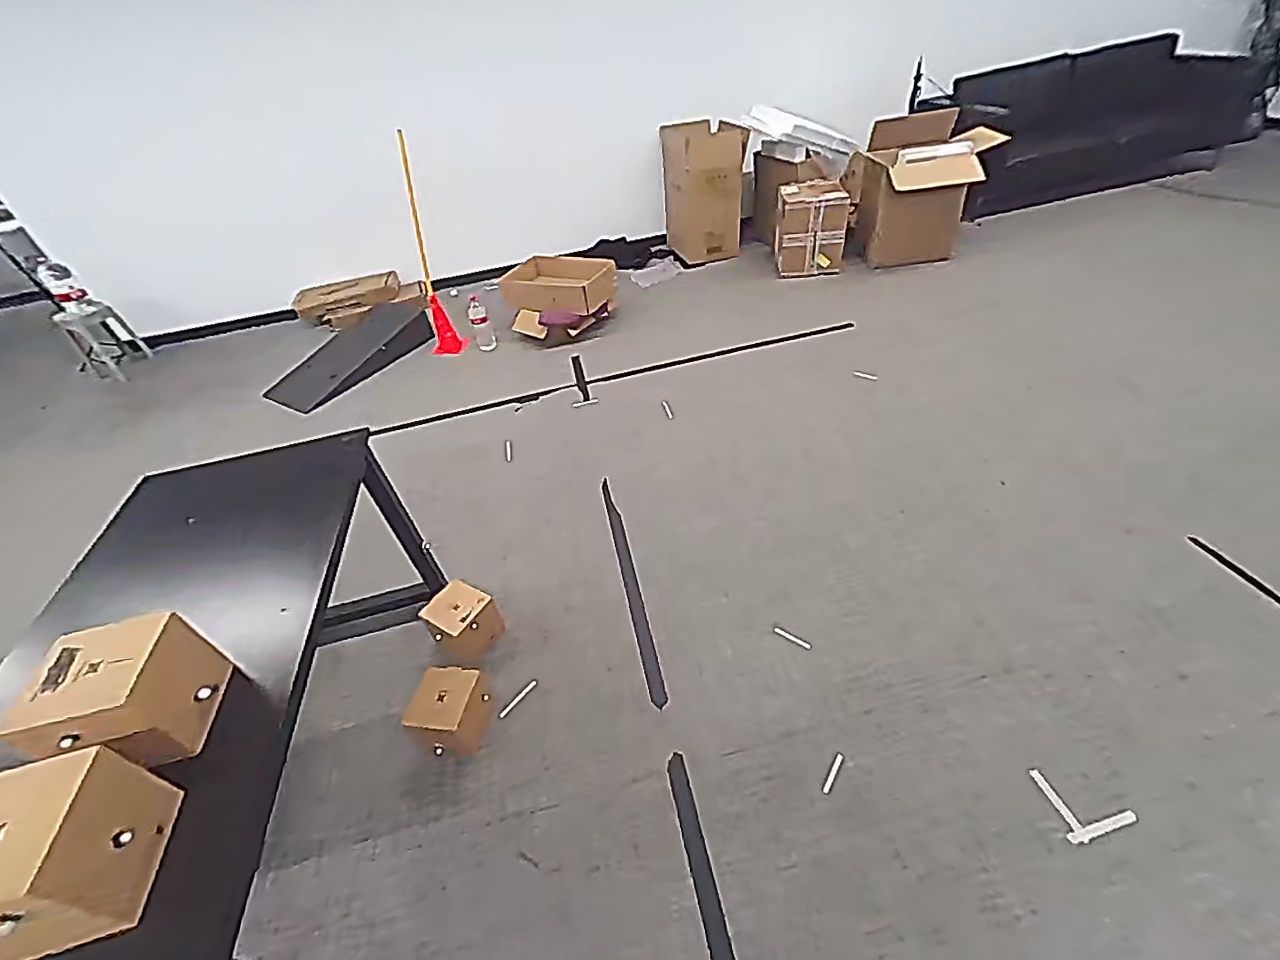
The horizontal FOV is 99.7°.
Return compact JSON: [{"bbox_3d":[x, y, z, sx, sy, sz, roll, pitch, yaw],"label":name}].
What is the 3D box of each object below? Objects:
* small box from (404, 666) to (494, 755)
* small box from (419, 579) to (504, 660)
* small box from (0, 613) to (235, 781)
[{"bbox_3d":[-0.536,0.660,1.552,0.168,0.176,0.179,0,43,11],"label":"small box"},{"bbox_3d":[-0.580,0.462,1.777,0.179,0.176,0.168,17,48,27],"label":"small box"},{"bbox_3d":[-0.798,0.342,0.849,0.179,0.176,0.168,-13,42,-5],"label":"small box"}]
